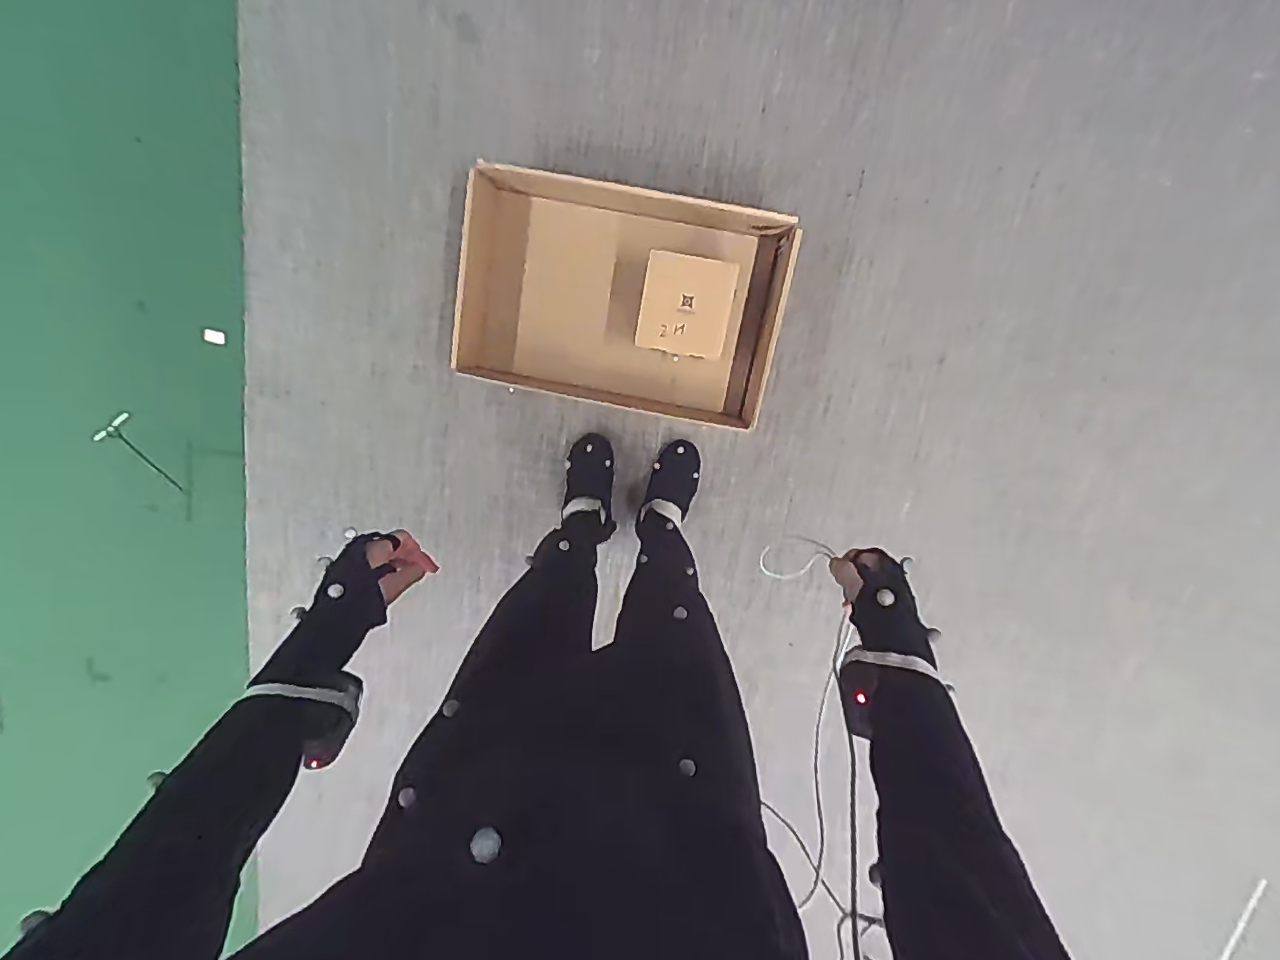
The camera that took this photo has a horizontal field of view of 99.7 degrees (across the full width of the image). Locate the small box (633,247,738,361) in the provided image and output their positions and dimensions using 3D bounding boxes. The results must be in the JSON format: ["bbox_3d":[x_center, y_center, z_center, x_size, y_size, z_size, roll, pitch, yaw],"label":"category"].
[{"bbox_3d":[0.088,-0.340,1.069,0.168,0.176,0.179,12,104,3],"label":"small box"}]
